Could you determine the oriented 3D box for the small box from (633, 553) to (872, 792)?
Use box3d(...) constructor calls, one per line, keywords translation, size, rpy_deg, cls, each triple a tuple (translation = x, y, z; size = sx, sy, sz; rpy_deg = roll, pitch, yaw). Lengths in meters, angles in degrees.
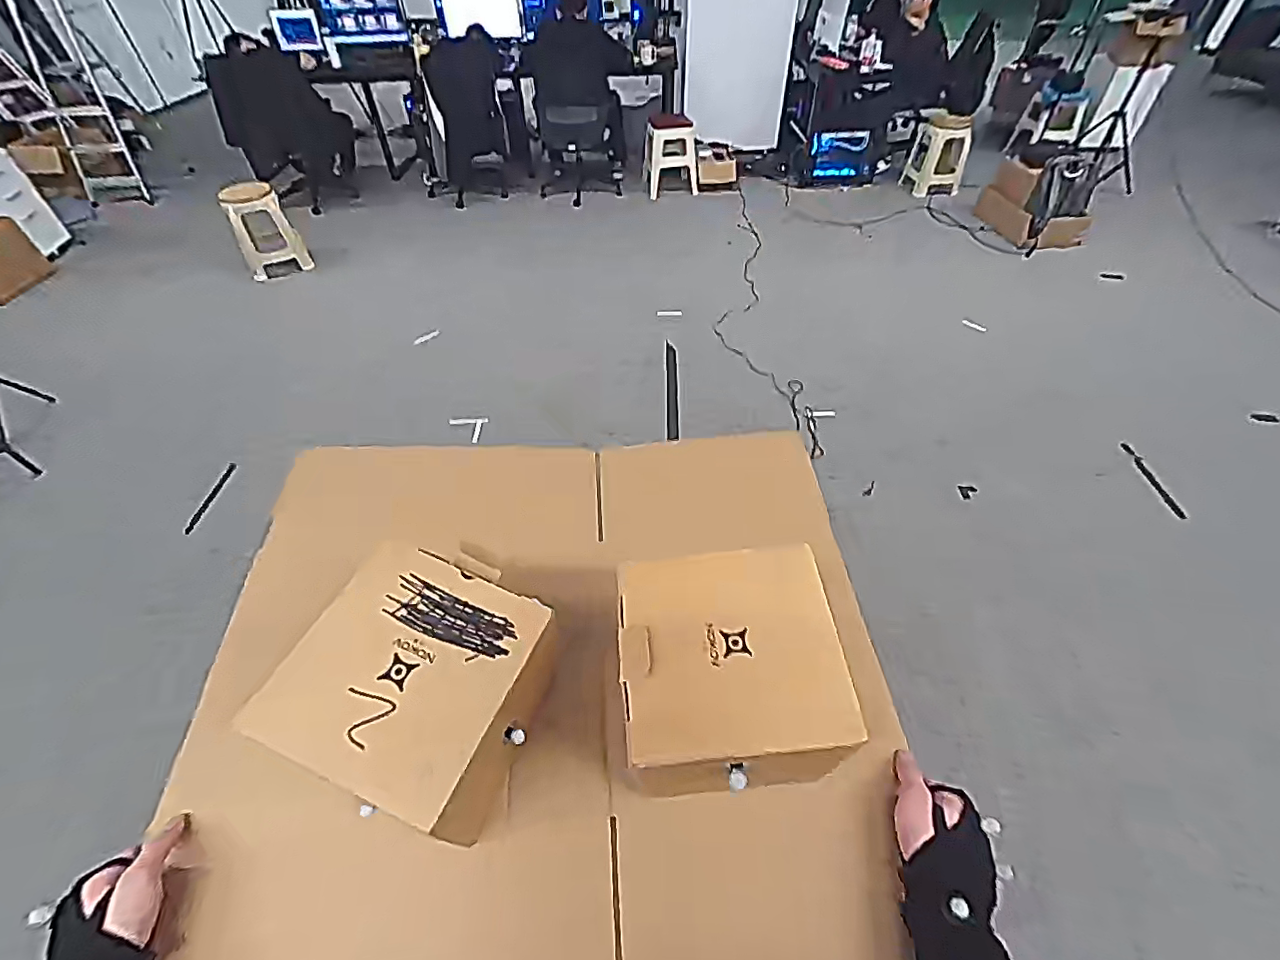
box3d(translation=(0.089, 0.188, 0.516), size=(0.179, 0.176, 0.168), rpy_deg=(-6, 52, 1), cls="small box")
